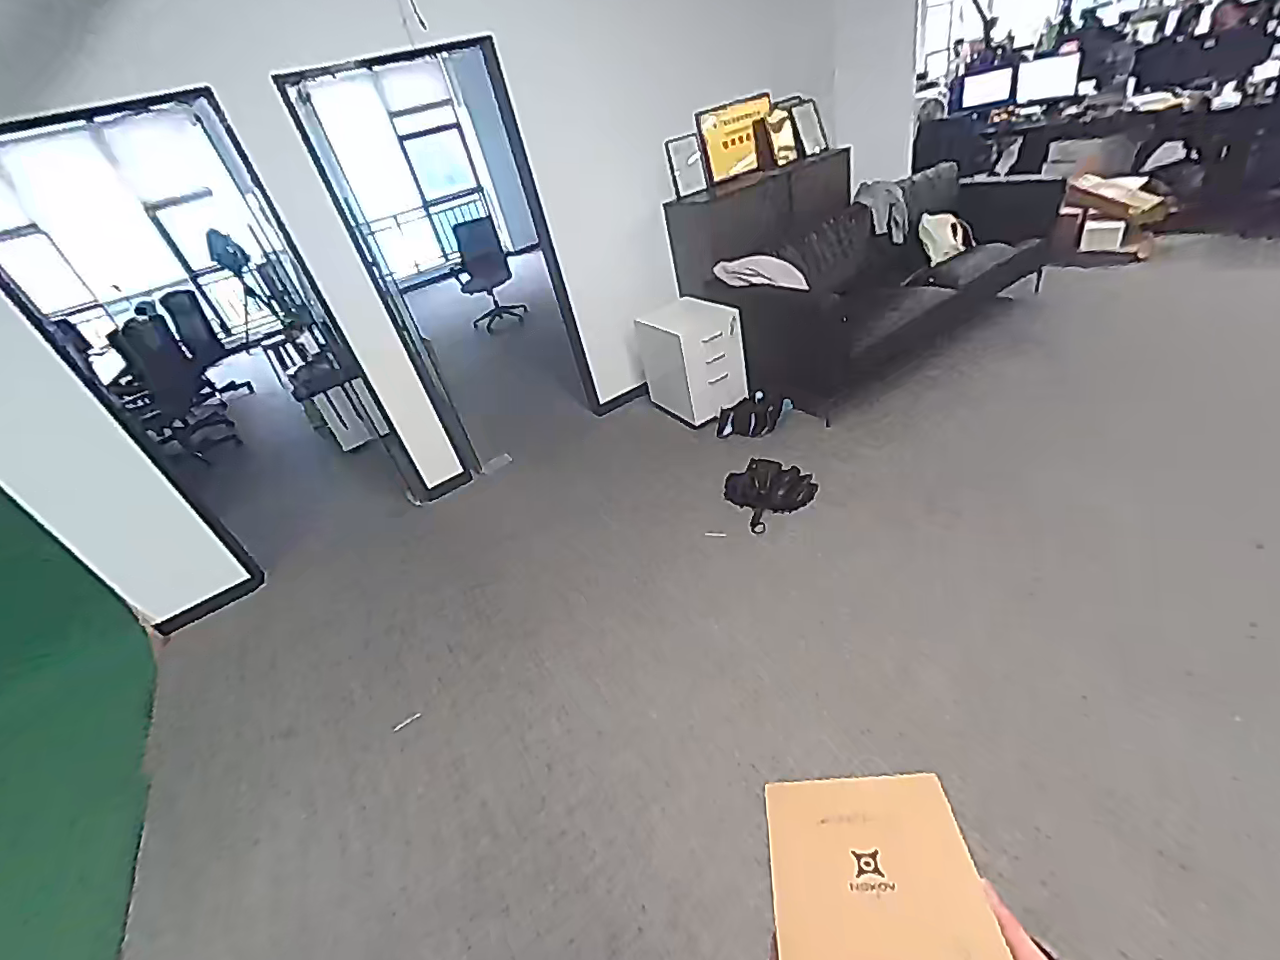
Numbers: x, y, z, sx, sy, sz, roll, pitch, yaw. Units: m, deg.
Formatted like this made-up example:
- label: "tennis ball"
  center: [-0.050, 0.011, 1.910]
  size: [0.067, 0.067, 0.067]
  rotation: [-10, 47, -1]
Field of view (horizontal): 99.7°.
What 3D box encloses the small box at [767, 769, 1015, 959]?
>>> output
- label: "small box"
  center: [0.214, 0.397, 0.484]
  size: [0.168, 0.176, 0.179]
  rotation: [-10, 19, 12]
